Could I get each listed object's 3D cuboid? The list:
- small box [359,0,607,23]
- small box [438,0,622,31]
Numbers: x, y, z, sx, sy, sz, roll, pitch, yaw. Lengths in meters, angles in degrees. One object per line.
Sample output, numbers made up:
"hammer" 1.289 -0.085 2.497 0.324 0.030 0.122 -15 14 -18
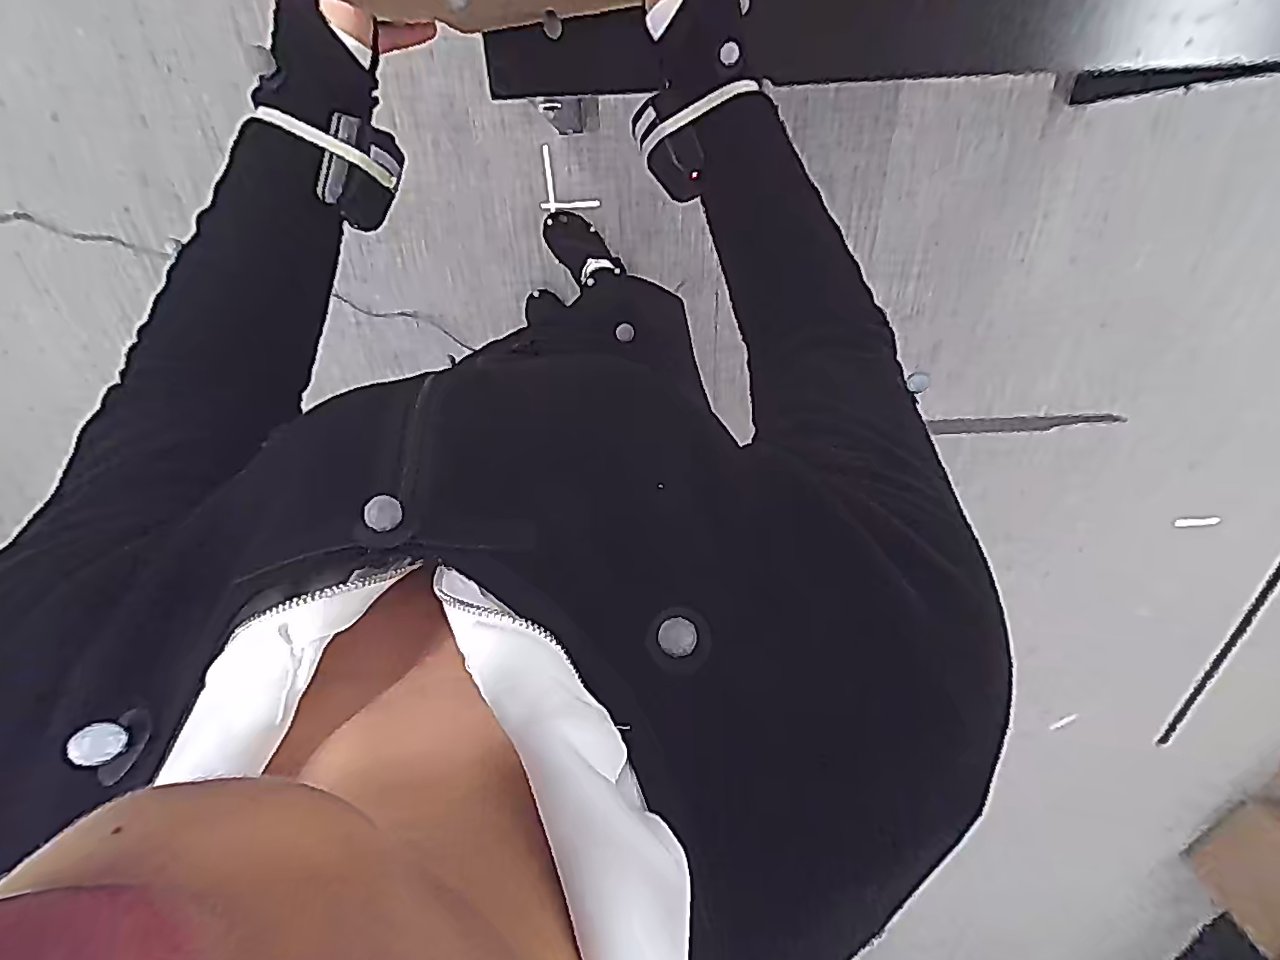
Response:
"small box" -0.093 -0.348 0.265 0.179 0.176 0.168 -5 124 1
"small box" -0.094 -0.453 0.394 0.179 0.176 0.168 -8 124 3
